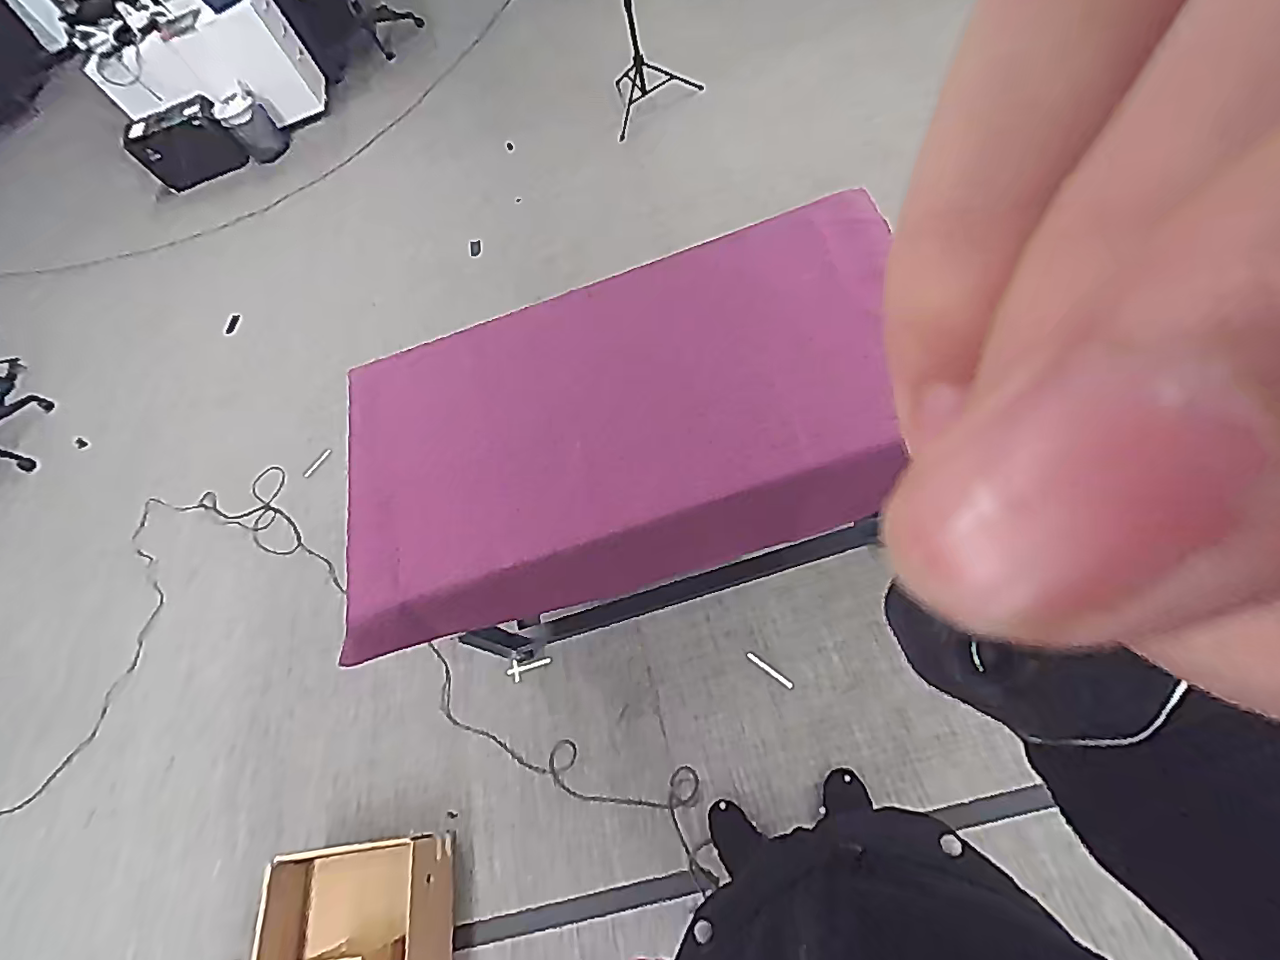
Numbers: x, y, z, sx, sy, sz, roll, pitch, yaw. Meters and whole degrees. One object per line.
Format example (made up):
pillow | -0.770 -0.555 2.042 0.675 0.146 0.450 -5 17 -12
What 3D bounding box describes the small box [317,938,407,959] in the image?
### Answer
small box | -0.657 1.175 1.230 0.179 0.176 0.168 -13 61 7
